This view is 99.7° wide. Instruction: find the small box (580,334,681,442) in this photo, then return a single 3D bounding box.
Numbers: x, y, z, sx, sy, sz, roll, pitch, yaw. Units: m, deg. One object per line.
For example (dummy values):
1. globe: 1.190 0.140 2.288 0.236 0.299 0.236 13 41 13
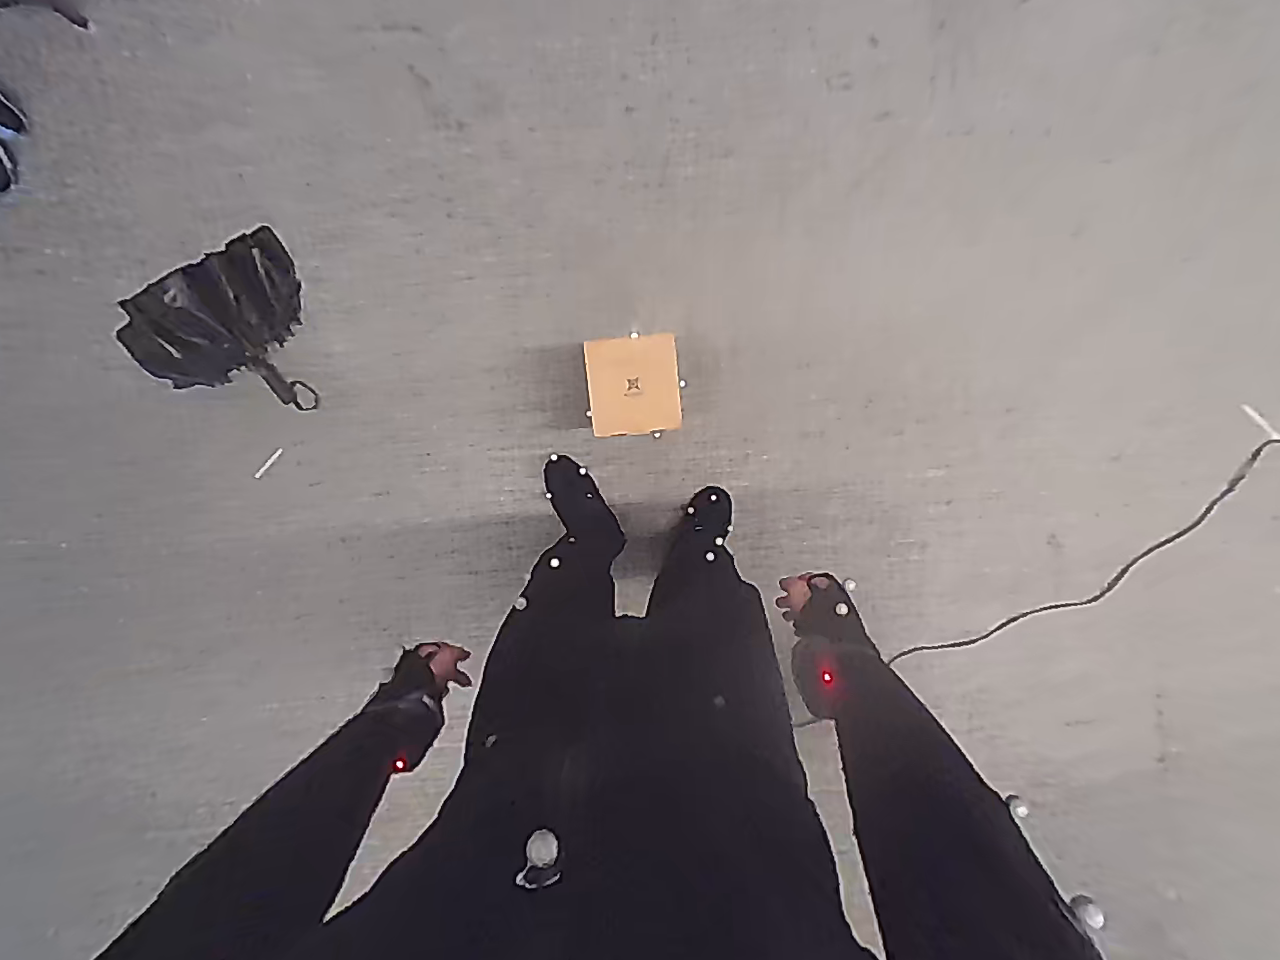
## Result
1. small box: -0.015 -0.174 1.025 0.168 0.176 0.179 -7 100 0
